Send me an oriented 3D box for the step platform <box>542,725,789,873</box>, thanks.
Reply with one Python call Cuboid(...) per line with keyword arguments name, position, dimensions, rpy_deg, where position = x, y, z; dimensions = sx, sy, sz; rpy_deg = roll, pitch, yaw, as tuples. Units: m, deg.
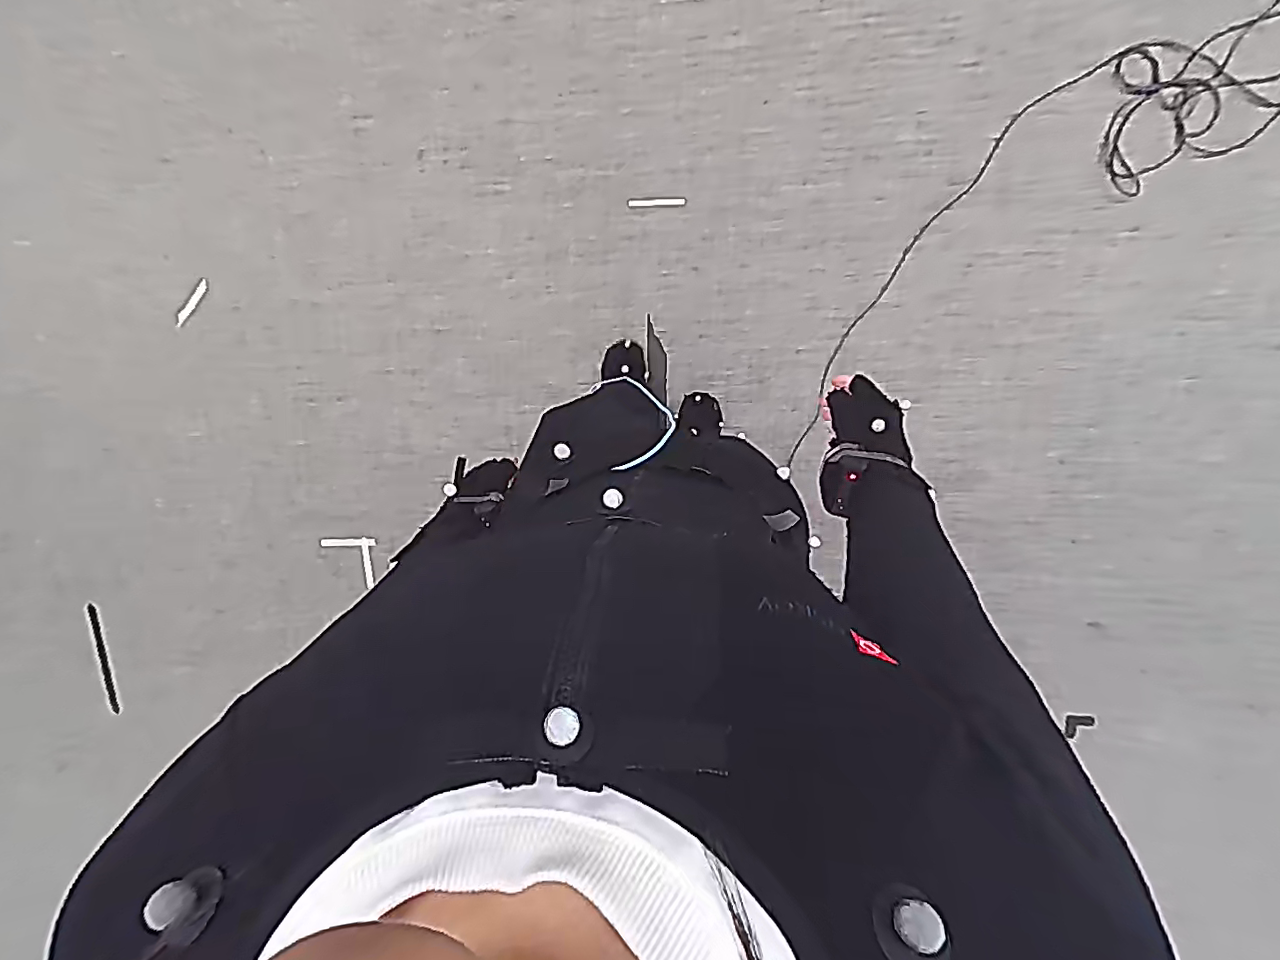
Cuboid(name="step platform", position=(0.069, 0.890, 1.524), dimensions=(0.684, 0.204, 0.286), rpy_deg=(0, 100, 8))
